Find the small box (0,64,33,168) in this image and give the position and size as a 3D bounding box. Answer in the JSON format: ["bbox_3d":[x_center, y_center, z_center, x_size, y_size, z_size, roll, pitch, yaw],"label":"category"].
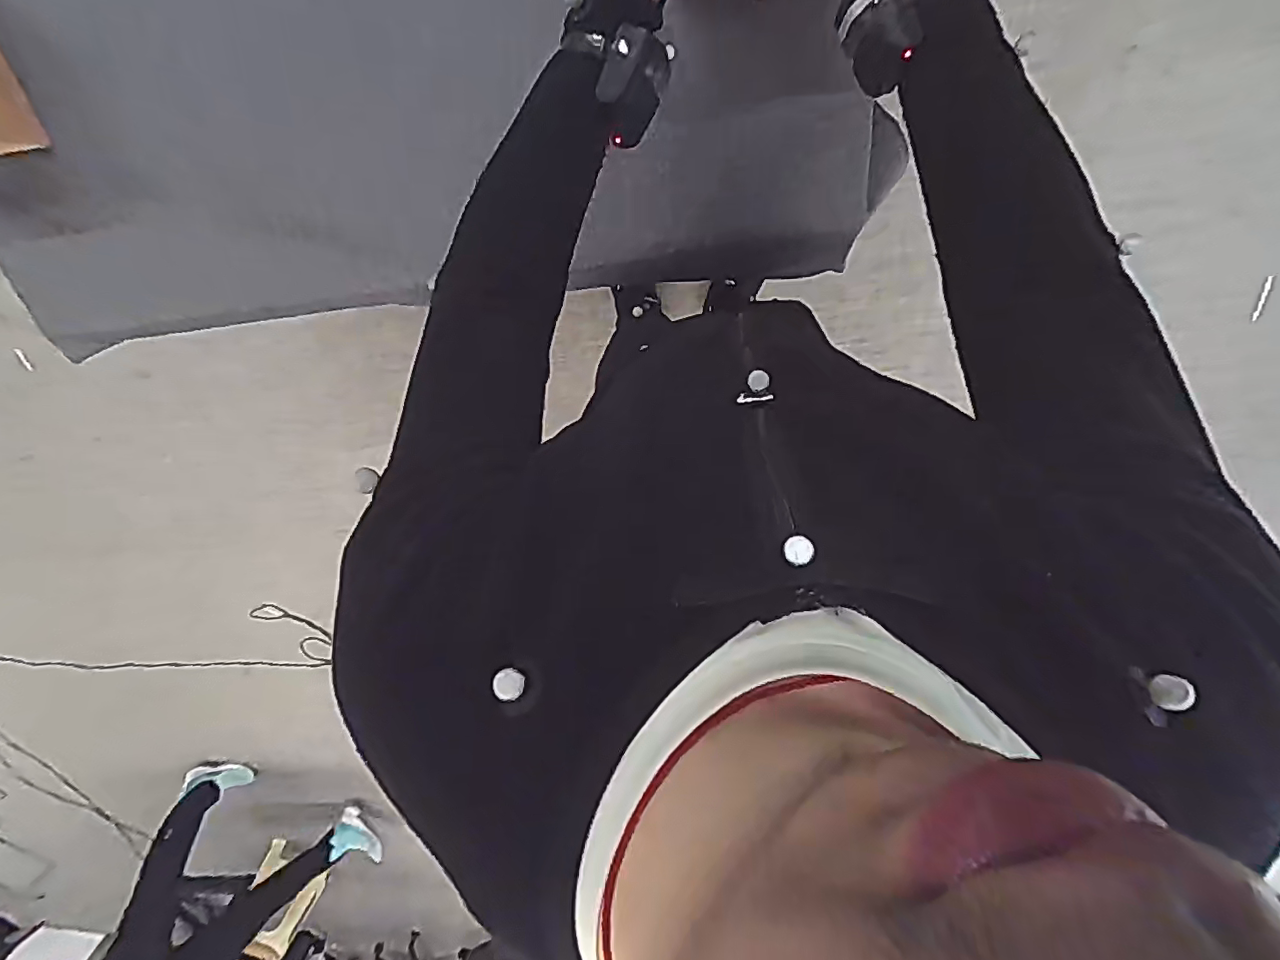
[{"bbox_3d":[-0.852,-0.443,0.596,0.179,0.176,0.168,-3,116,6],"label":"small box"}]
